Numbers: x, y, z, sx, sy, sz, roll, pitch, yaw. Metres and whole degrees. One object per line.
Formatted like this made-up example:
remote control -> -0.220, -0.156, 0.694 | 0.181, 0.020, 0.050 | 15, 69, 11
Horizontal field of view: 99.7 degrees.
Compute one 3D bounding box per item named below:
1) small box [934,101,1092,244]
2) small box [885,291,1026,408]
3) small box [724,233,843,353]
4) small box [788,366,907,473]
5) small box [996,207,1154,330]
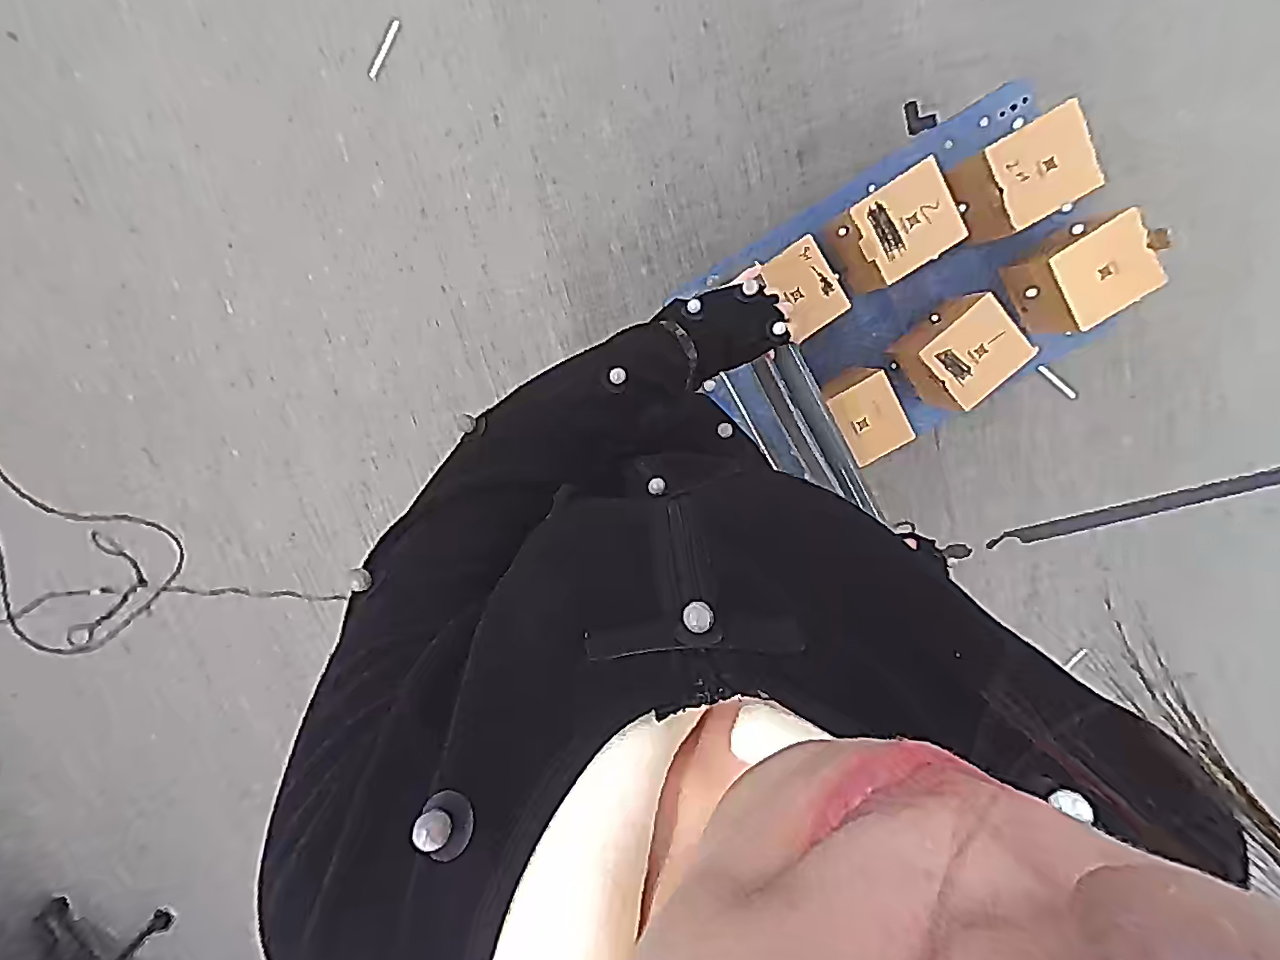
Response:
small box -> 0.736, -0.601, 1.083 | 0.179, 0.176, 0.168 | -28, 102, 8
small box -> 0.662, -0.277, 1.166 | 0.179, 0.176, 0.168 | -42, 100, 9
small box -> 0.290, -0.385, 1.142 | 0.179, 0.176, 0.168 | -33, 102, 9
small box -> 0.447, -0.139, 1.204 | 0.179, 0.176, 0.168 | -30, 102, 7
small box -> 0.887, -0.426, 1.128 | 0.179, 0.176, 0.168 | -33, 101, 8
